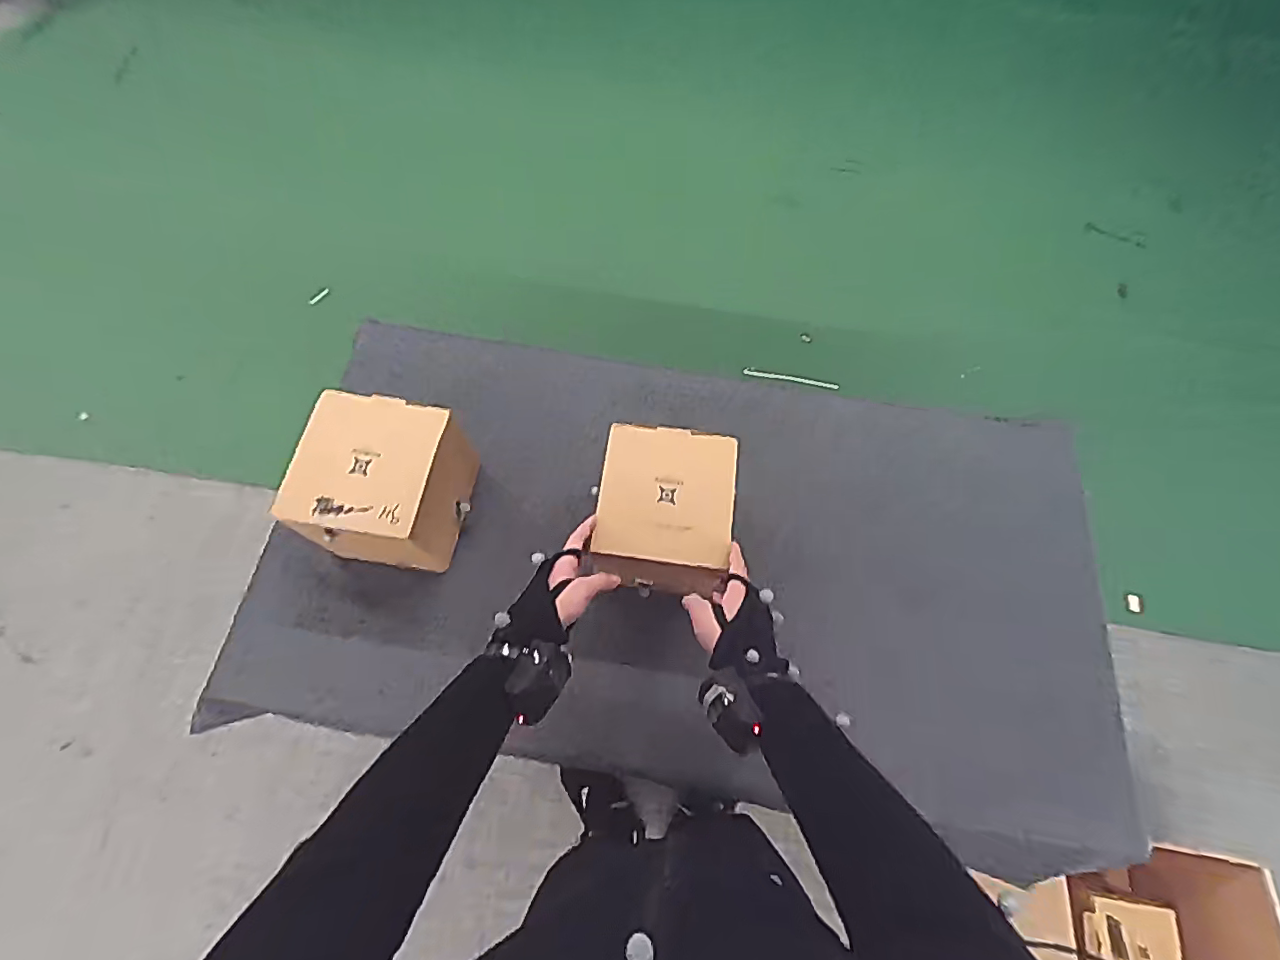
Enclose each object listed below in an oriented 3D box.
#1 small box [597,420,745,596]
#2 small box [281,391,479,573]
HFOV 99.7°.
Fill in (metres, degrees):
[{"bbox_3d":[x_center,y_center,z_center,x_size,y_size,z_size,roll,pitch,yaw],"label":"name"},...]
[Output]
[{"bbox_3d":[0.037,0.044,0.721,0.168,0.176,0.179,7,68,1],"label":"small box"},{"bbox_3d":[-0.330,0.009,0.734,0.168,0.176,0.179,10,66,1],"label":"small box"}]
